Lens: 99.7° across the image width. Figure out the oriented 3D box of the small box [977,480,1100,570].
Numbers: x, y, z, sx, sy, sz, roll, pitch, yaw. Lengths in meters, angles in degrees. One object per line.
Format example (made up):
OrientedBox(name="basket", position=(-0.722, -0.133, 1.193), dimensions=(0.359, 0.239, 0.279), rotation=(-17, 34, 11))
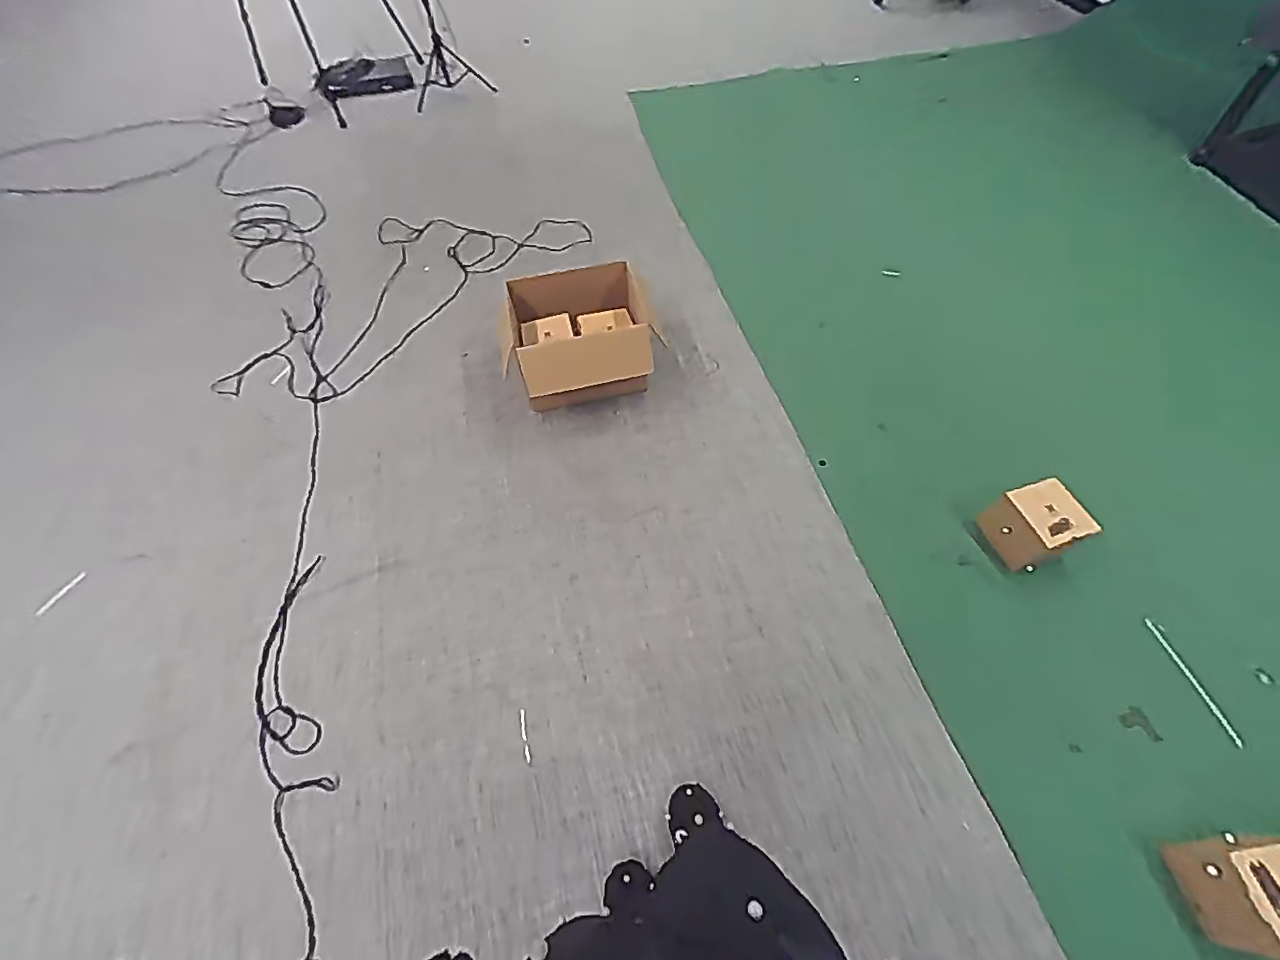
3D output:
OrientedBox(name="small box", position=(1.087, 0.132, 1.492), dimensions=(0.168, 0.176, 0.179), rotation=(-15, 58, -8))
